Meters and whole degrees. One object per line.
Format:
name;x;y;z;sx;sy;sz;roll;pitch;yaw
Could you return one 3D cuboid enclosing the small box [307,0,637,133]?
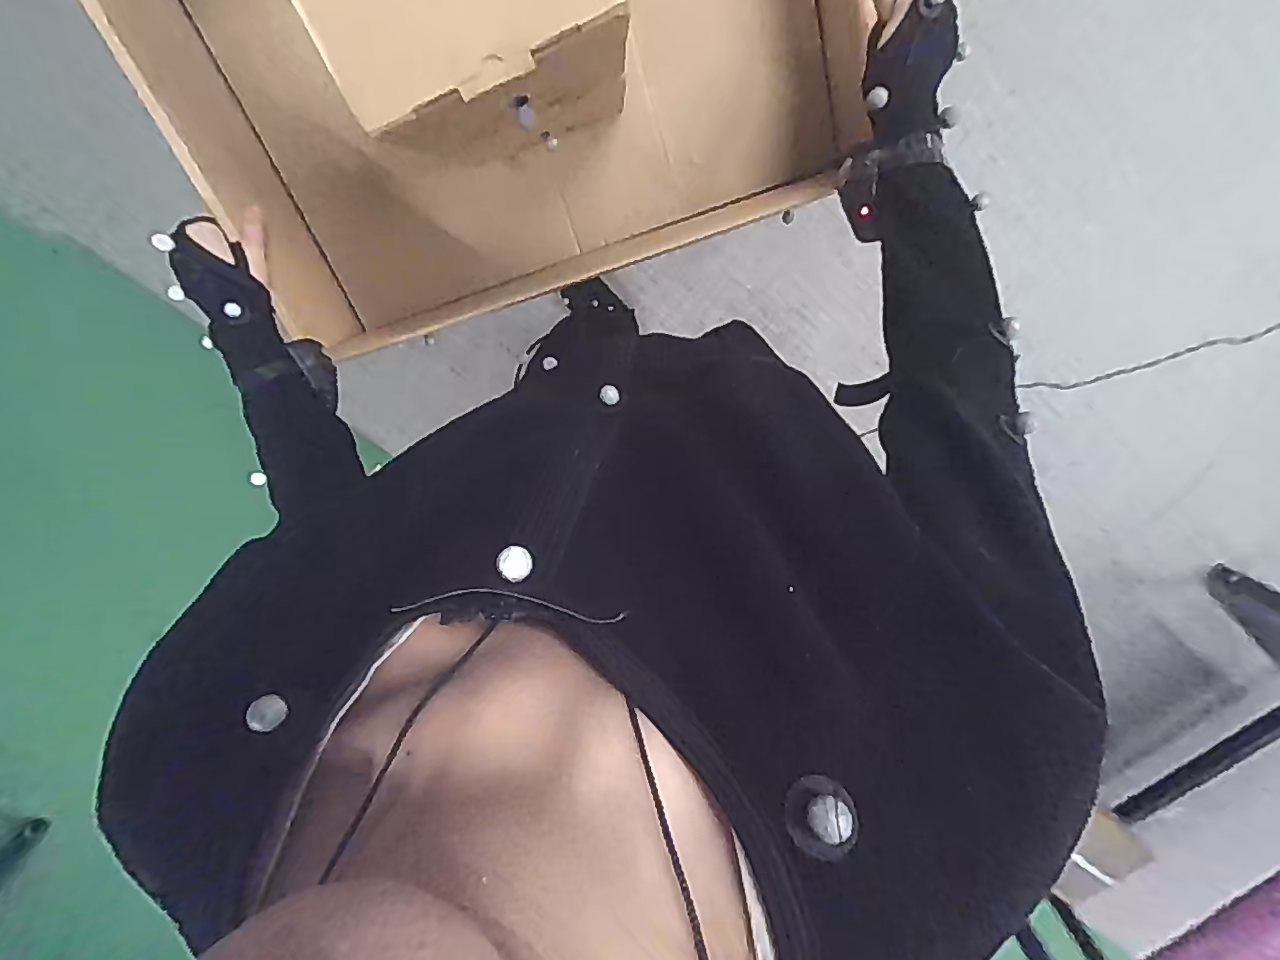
small box;-0.107;-0.333;0.325;0.168;0.176;0.179;-20;117;7
